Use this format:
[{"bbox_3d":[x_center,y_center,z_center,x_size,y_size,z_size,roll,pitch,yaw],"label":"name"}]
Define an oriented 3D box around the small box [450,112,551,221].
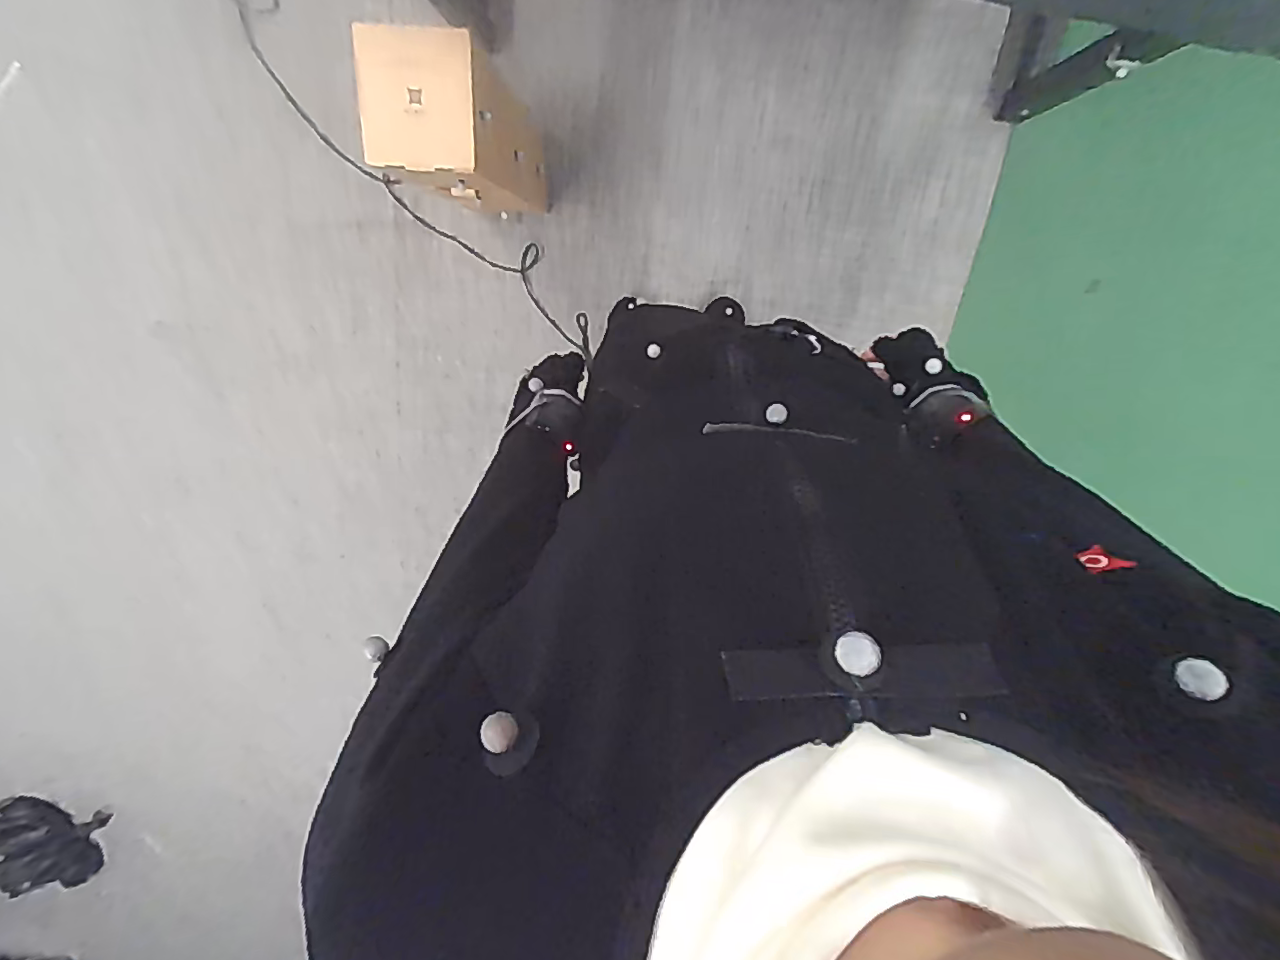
[{"bbox_3d":[-0.290,-0.662,1.158,0.168,0.176,0.179,1,110,3],"label":"small box"}]
